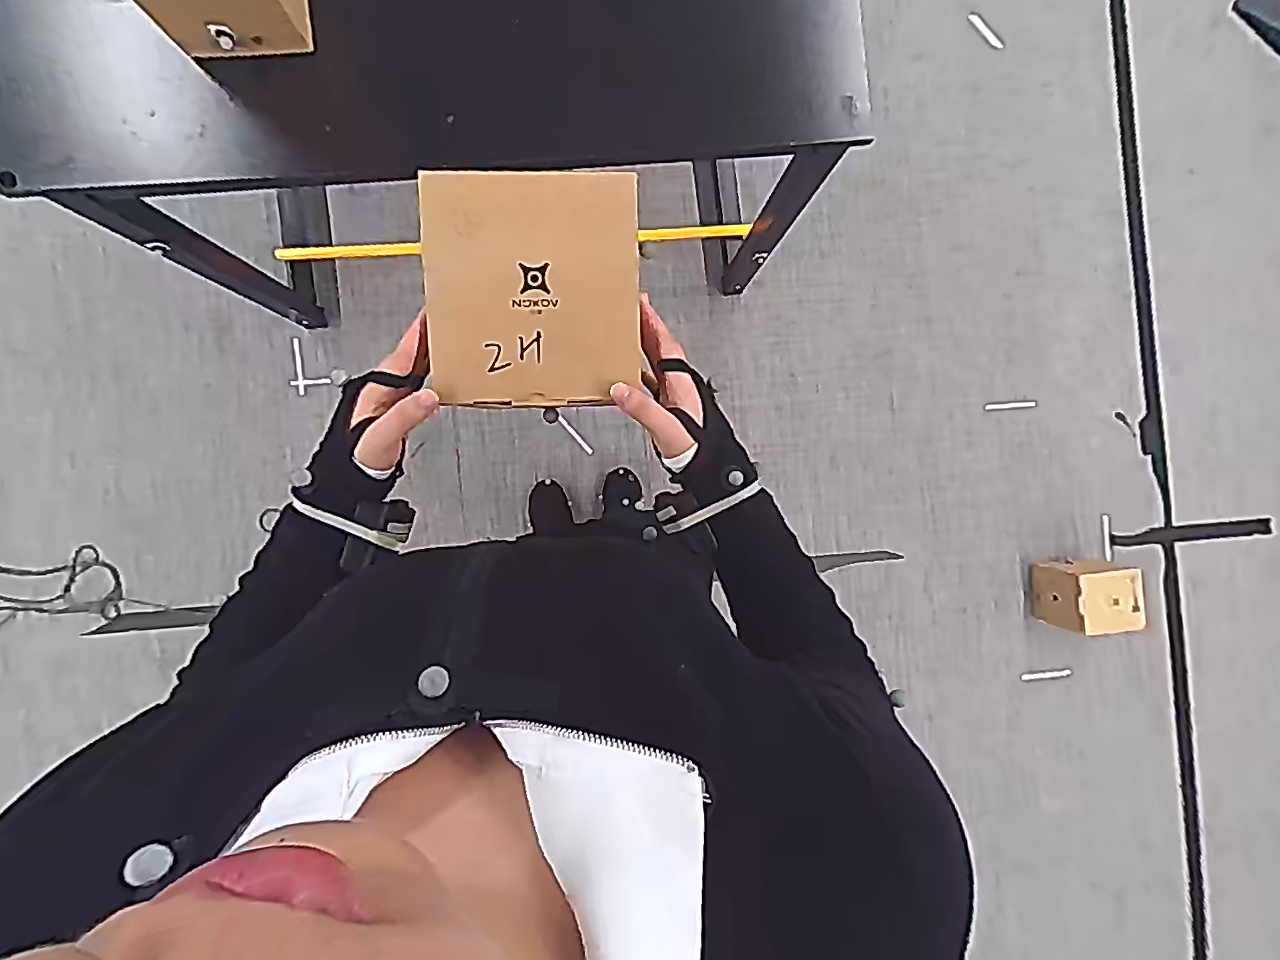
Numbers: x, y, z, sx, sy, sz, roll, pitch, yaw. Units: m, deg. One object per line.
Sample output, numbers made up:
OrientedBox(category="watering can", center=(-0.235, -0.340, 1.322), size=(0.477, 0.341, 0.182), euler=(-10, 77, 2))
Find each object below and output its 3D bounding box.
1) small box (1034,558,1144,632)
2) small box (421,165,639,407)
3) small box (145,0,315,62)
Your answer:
OrientedBox(category="small box", center=(1.242, 0.317, 1.511), size=(0.179, 0.176, 0.168), euler=(-5, 91, -3))
OrientedBox(category="small box", center=(-0.088, -0.160, 0.498), size=(0.168, 0.176, 0.179), euler=(-2, 96, -3))
OrientedBox(category="small box", center=(-0.533, -0.665, 0.663), size=(0.168, 0.176, 0.179), euler=(-7, 91, -3))
